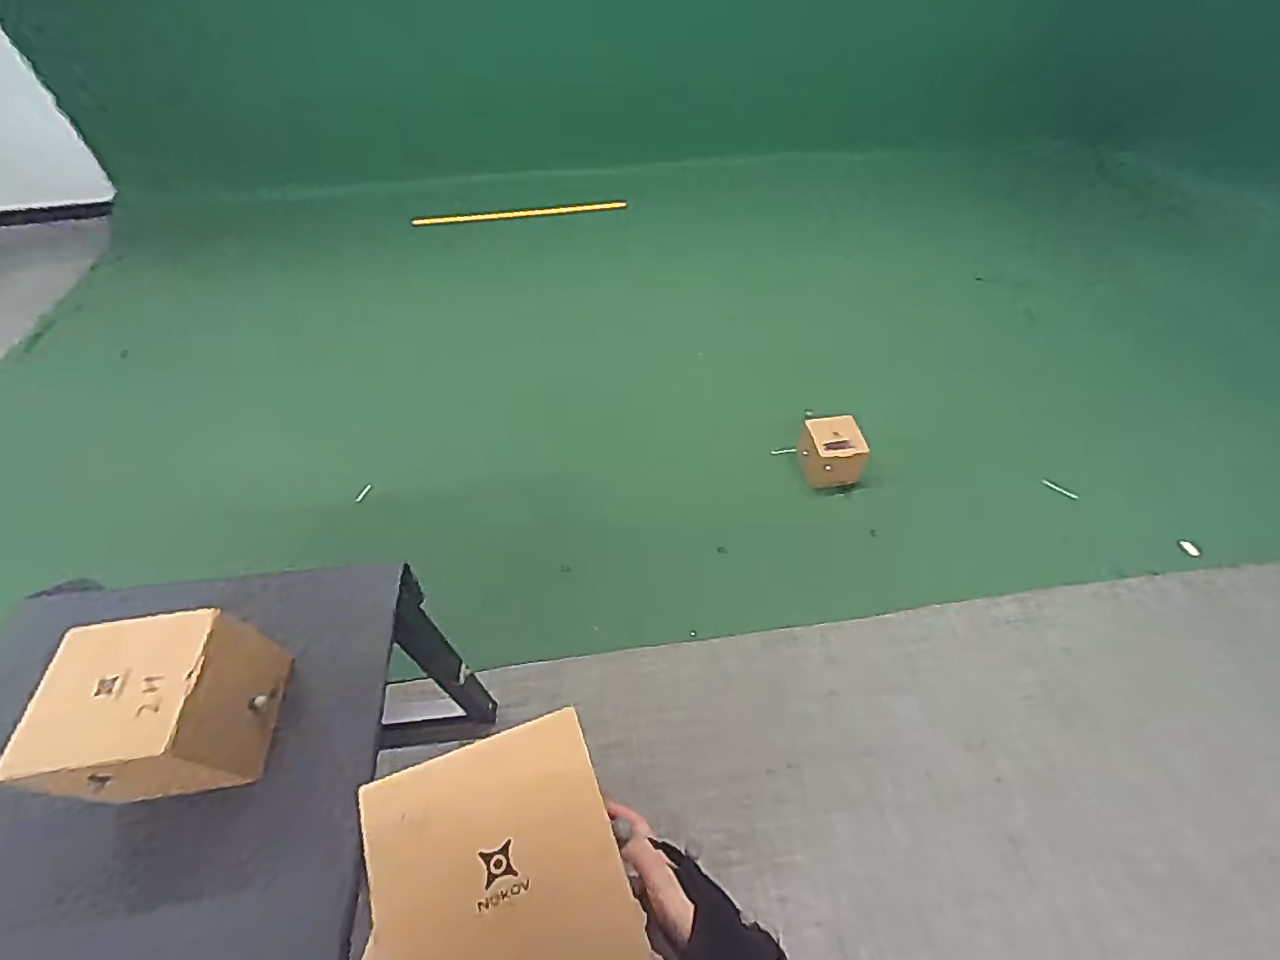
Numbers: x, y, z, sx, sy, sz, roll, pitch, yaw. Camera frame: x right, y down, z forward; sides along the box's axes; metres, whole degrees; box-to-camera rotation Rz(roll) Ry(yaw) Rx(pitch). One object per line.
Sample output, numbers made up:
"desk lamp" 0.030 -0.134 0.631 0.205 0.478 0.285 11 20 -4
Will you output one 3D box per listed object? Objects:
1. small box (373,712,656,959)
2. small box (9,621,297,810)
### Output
"small box" -0.104 0.323 0.449 0.168 0.176 0.179 -15 60 -17
"small box" -0.578 0.298 0.676 0.179 0.176 0.168 -8 53 -3
